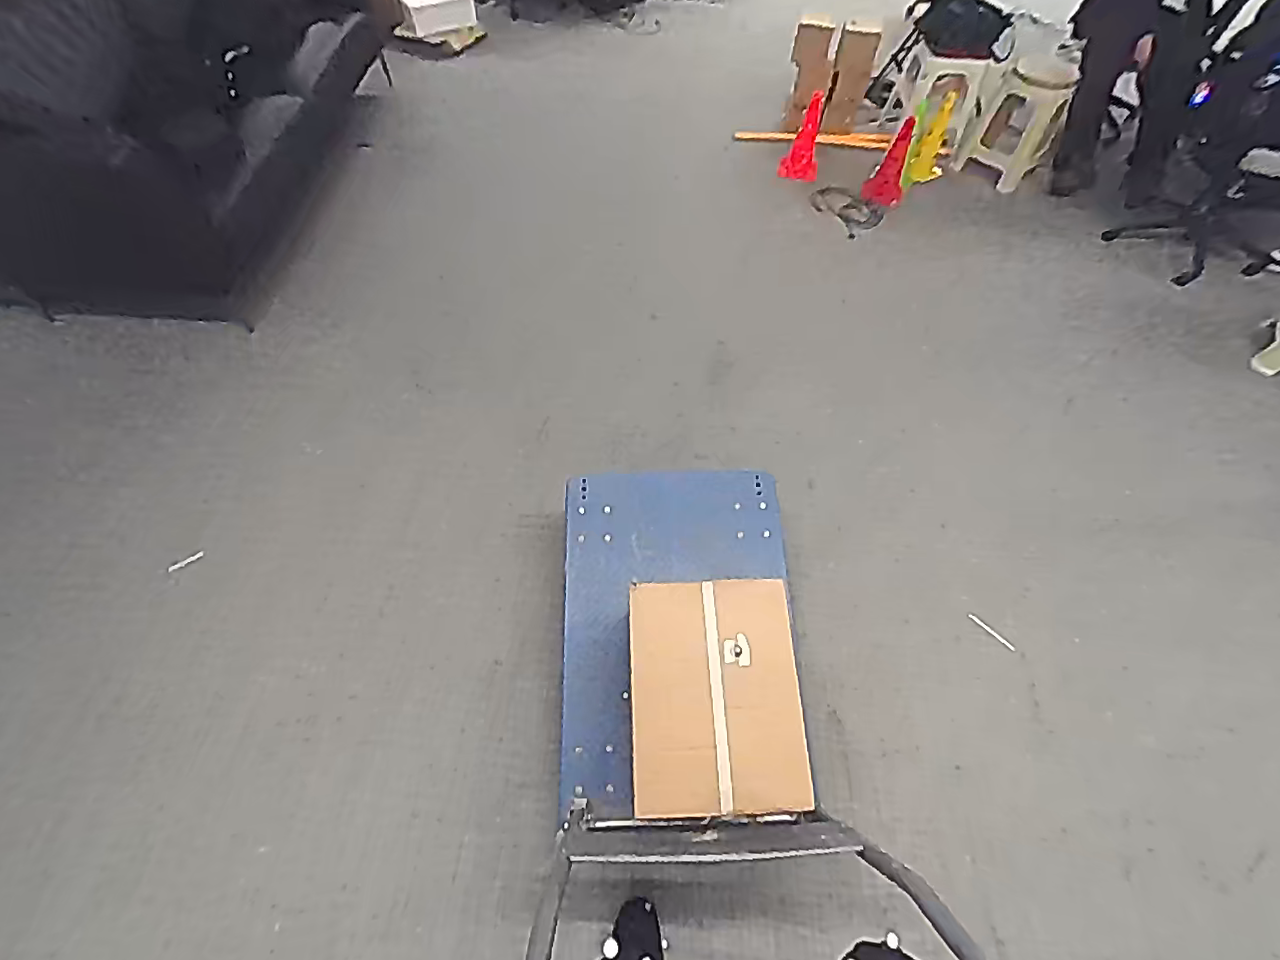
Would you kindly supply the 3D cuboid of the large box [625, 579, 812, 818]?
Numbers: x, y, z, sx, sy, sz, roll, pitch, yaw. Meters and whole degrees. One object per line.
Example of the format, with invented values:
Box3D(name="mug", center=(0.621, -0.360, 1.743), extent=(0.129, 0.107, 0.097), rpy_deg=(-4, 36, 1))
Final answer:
Box3D(name="large box", center=(0.134, 0.450, 1.142), extent=(0.320, 0.320, 0.408), rpy_deg=(-2, 66, -3))
